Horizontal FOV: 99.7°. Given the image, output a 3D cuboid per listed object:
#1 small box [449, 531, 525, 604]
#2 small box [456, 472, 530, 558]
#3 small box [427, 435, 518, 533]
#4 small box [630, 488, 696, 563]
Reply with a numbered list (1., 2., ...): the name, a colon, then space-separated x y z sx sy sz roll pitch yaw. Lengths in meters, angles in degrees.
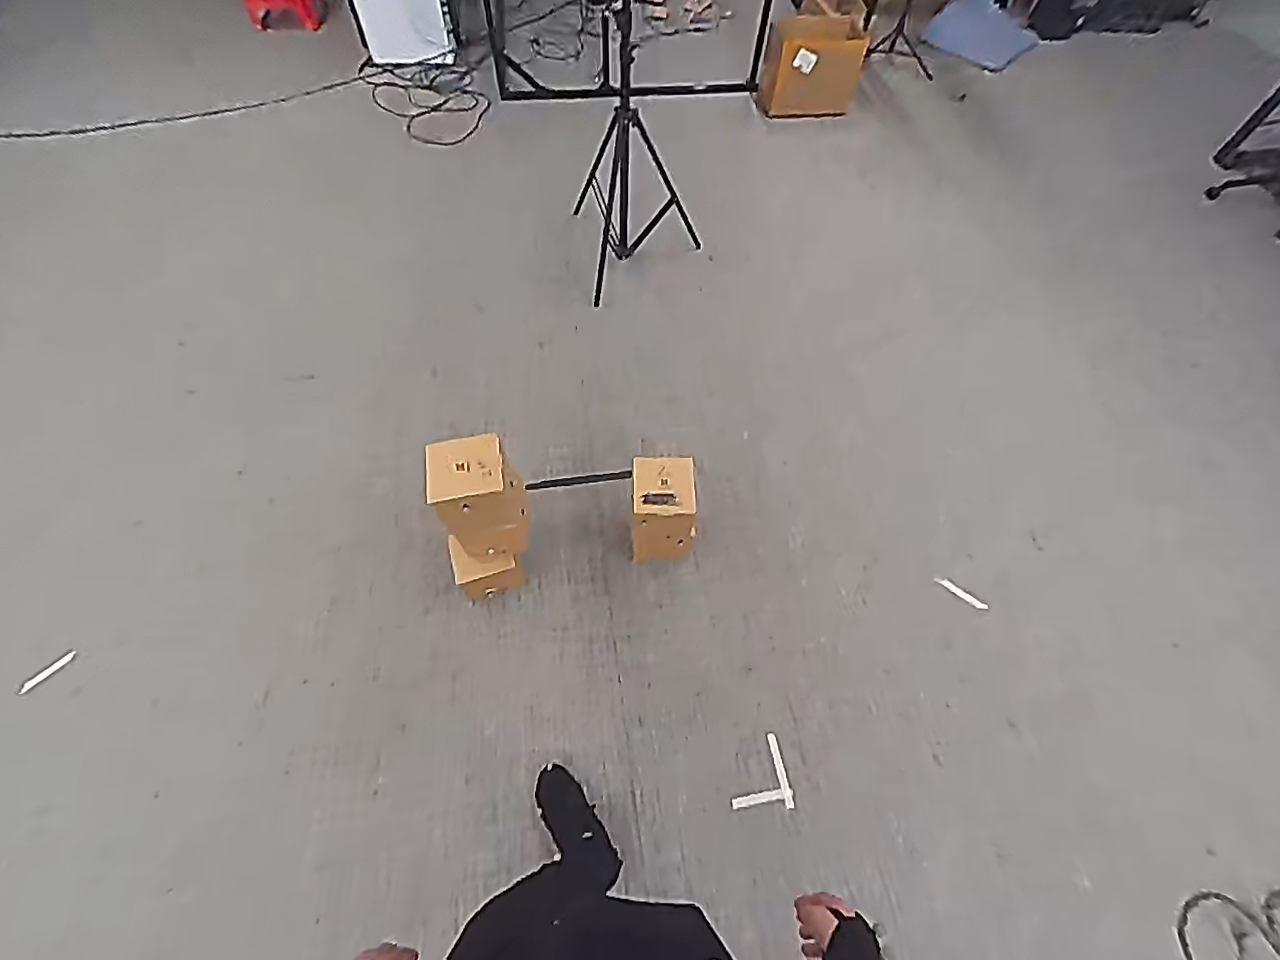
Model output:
1. small box: -0.443 0.235 1.573 0.168 0.176 0.179 -16 62 -10
2. small box: -0.394 0.097 1.466 0.168 0.176 0.179 -3 60 -3
3. small box: -0.406 0.016 1.323 0.179 0.176 0.168 -10 60 -7
4. small box: 0.064 0.143 1.646 0.179 0.176 0.168 -5 60 -6
